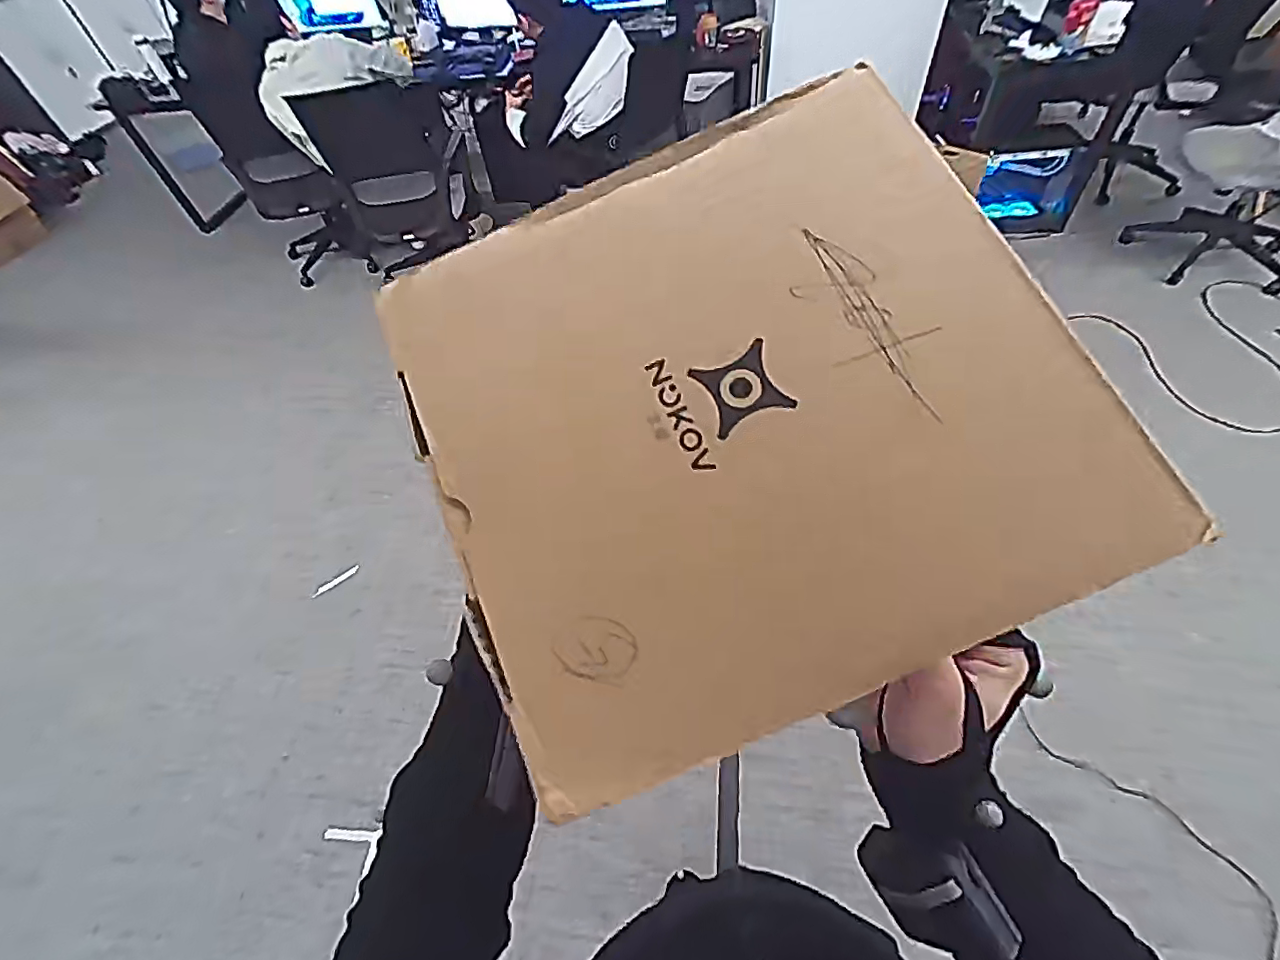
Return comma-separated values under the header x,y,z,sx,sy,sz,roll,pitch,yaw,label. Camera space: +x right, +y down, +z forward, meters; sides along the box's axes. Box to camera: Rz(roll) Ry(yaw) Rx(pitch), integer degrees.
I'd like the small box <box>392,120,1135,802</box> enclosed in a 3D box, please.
x,y,z,sx,sy,sz,roll,pitch,yaw,label
0.032,0.002,0.242,0.179,0.176,0.168,-25,75,0,small box
